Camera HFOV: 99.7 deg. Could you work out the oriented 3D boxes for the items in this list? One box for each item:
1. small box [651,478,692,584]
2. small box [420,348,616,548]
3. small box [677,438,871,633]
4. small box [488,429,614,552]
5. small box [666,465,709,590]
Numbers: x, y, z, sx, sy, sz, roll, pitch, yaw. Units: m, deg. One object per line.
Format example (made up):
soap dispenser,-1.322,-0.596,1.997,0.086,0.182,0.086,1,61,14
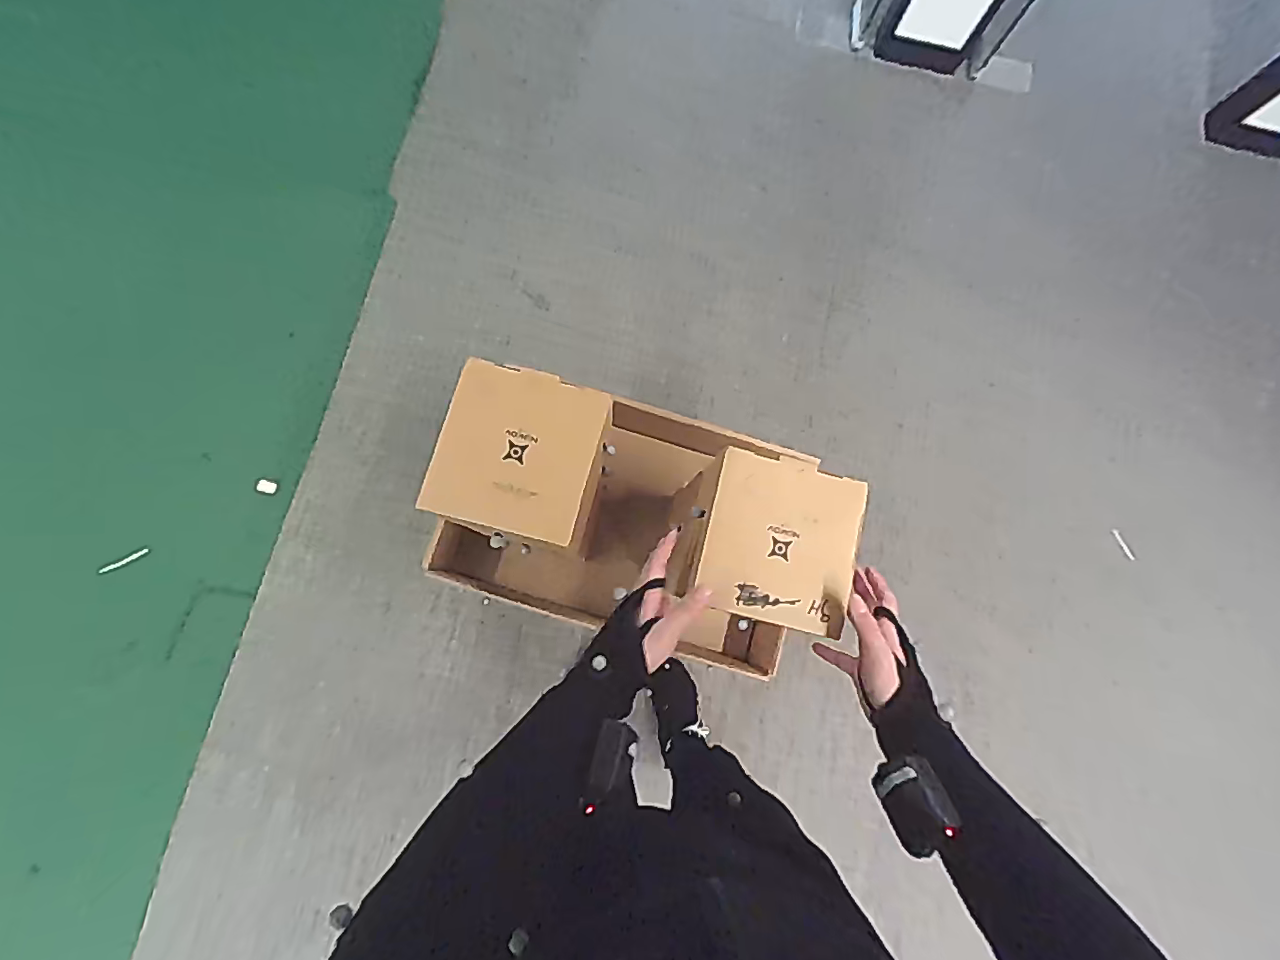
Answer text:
small box,0.124,0.115,0.978,0.168,0.176,0.179,19,80,0
small box,-0.132,-0.026,0.651,0.168,0.176,0.179,16,78,0
small box,0.149,0.070,0.654,0.168,0.176,0.179,15,80,-1
small box,-0.142,0.002,0.811,0.168,0.176,0.179,15,79,0
small box,0.140,0.094,0.816,0.168,0.176,0.179,15,79,-1
